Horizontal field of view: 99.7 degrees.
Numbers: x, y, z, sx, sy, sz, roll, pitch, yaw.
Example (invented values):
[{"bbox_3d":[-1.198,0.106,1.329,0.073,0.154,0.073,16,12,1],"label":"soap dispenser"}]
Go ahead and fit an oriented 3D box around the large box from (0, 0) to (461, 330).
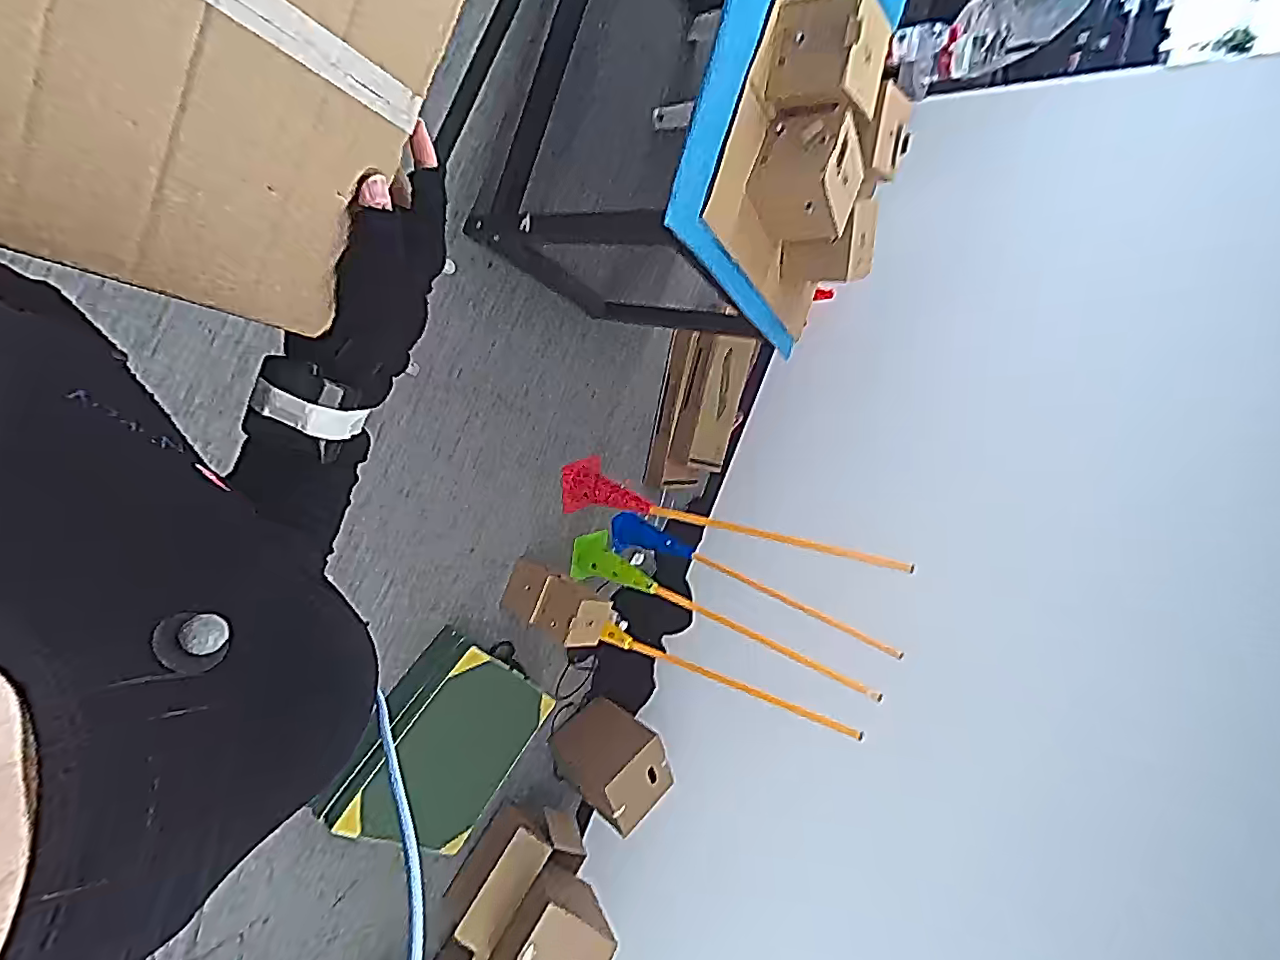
[{"bbox_3d":[-0.352,-0.332,0.261,0.408,0.320,0.320,10,120,-52],"label":"large box"}]
